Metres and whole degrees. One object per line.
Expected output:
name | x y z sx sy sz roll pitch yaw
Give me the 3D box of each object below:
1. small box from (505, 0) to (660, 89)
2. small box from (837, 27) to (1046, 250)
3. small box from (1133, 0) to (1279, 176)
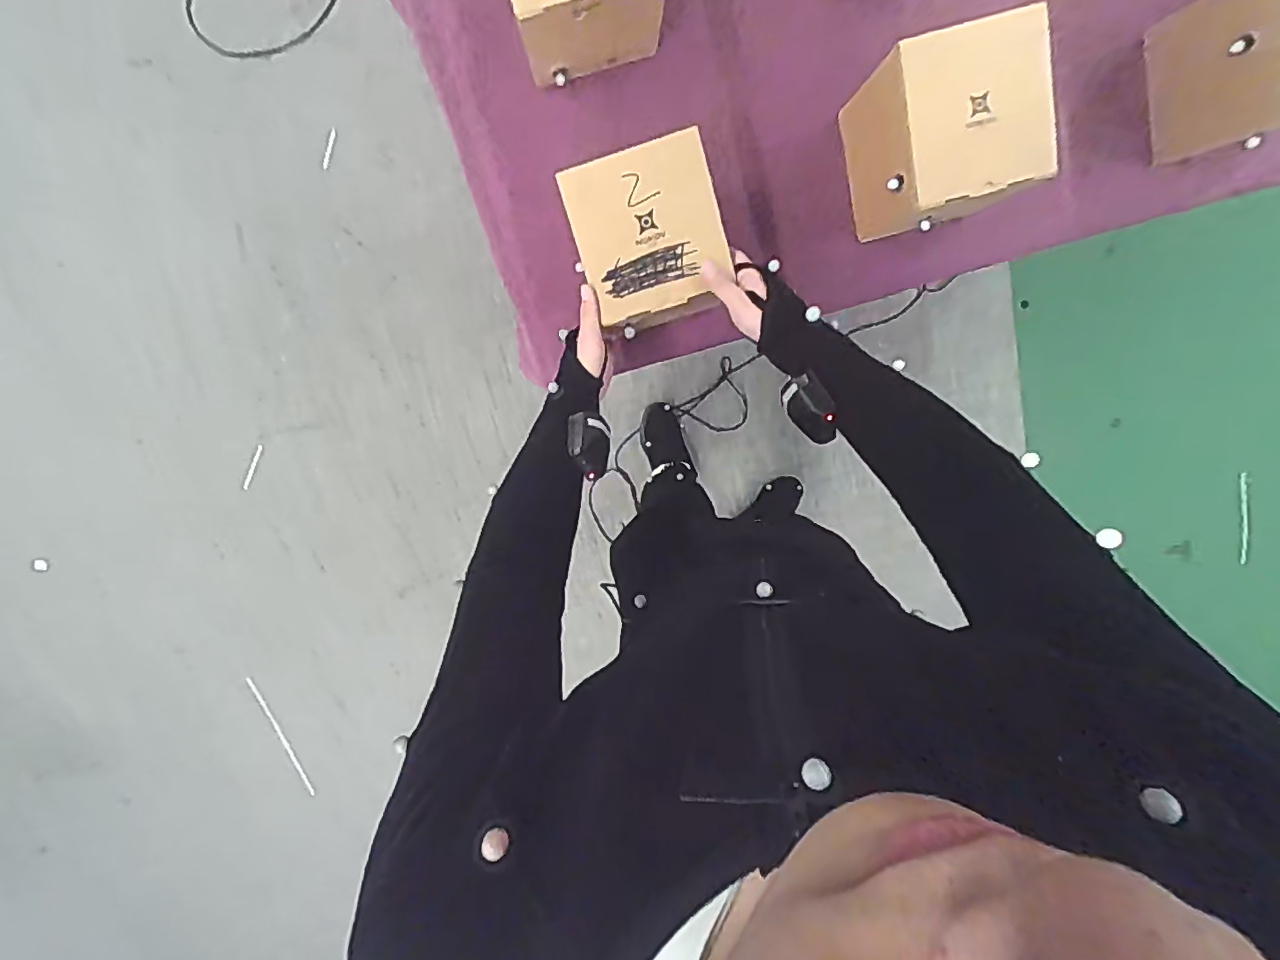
small box | -0.077 -0.586 0.619 0.168 0.176 0.179 -15 105 0
small box | 0.370 -0.417 0.691 0.168 0.176 0.179 -15 104 0
small box | 0.777 -0.521 0.683 0.168 0.176 0.179 -17 104 3
